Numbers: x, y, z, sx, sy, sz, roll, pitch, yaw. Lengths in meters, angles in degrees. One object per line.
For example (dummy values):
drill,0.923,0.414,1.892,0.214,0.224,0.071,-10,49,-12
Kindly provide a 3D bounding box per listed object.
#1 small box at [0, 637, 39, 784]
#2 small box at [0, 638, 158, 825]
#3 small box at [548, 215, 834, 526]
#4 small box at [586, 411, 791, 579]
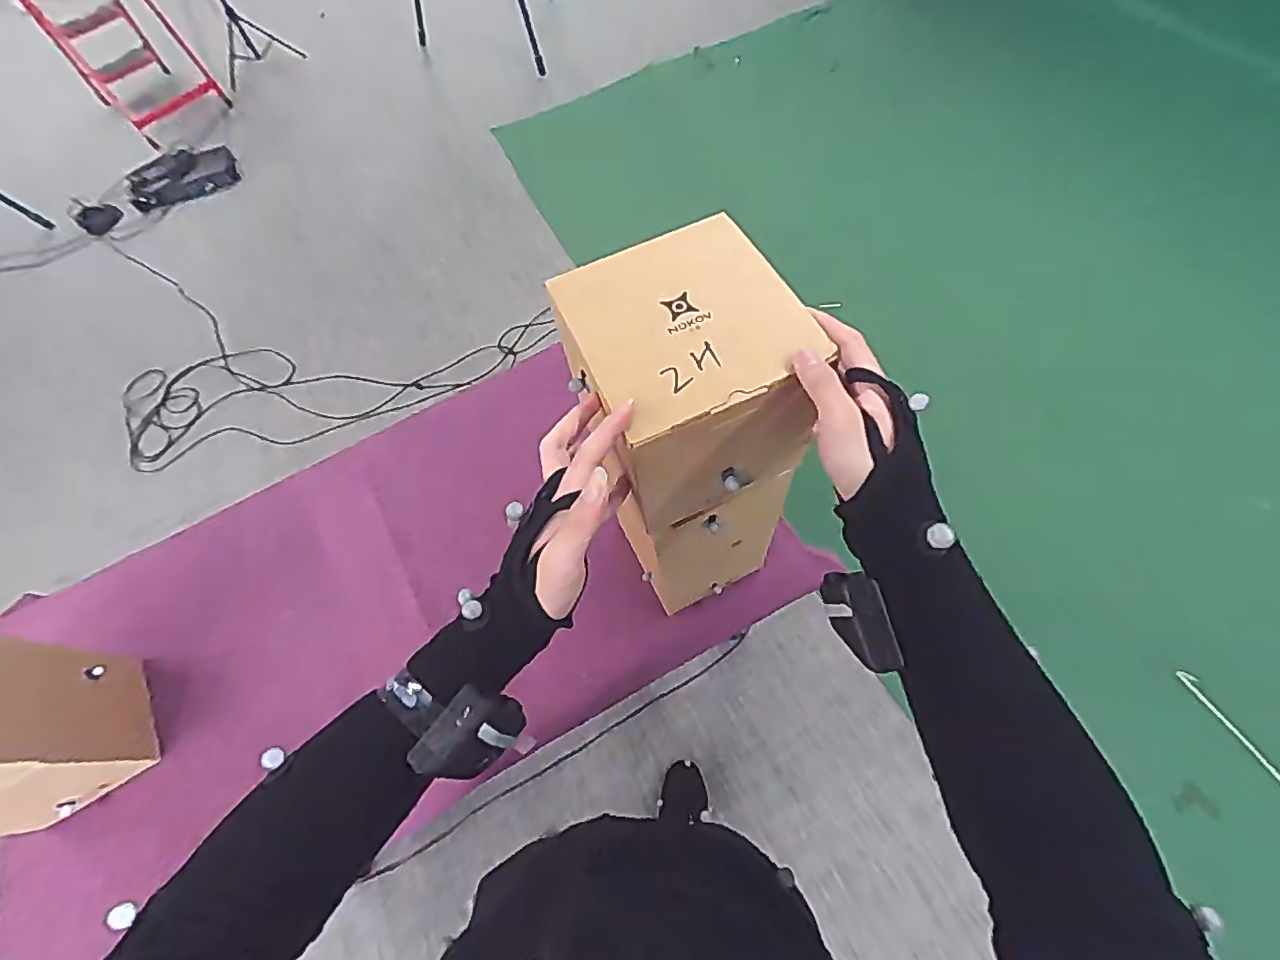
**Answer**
small box,-0.834,0.275,0.594,0.168,0.176,0.179,-32,66,-9
small box,-0.821,0.348,0.740,0.168,0.176,0.179,-31,66,-10
small box,0.037,-0.088,0.480,0.168,0.176,0.179,-24,64,-6
small box,0.054,-0.008,0.649,0.168,0.176,0.179,-26,63,-6
